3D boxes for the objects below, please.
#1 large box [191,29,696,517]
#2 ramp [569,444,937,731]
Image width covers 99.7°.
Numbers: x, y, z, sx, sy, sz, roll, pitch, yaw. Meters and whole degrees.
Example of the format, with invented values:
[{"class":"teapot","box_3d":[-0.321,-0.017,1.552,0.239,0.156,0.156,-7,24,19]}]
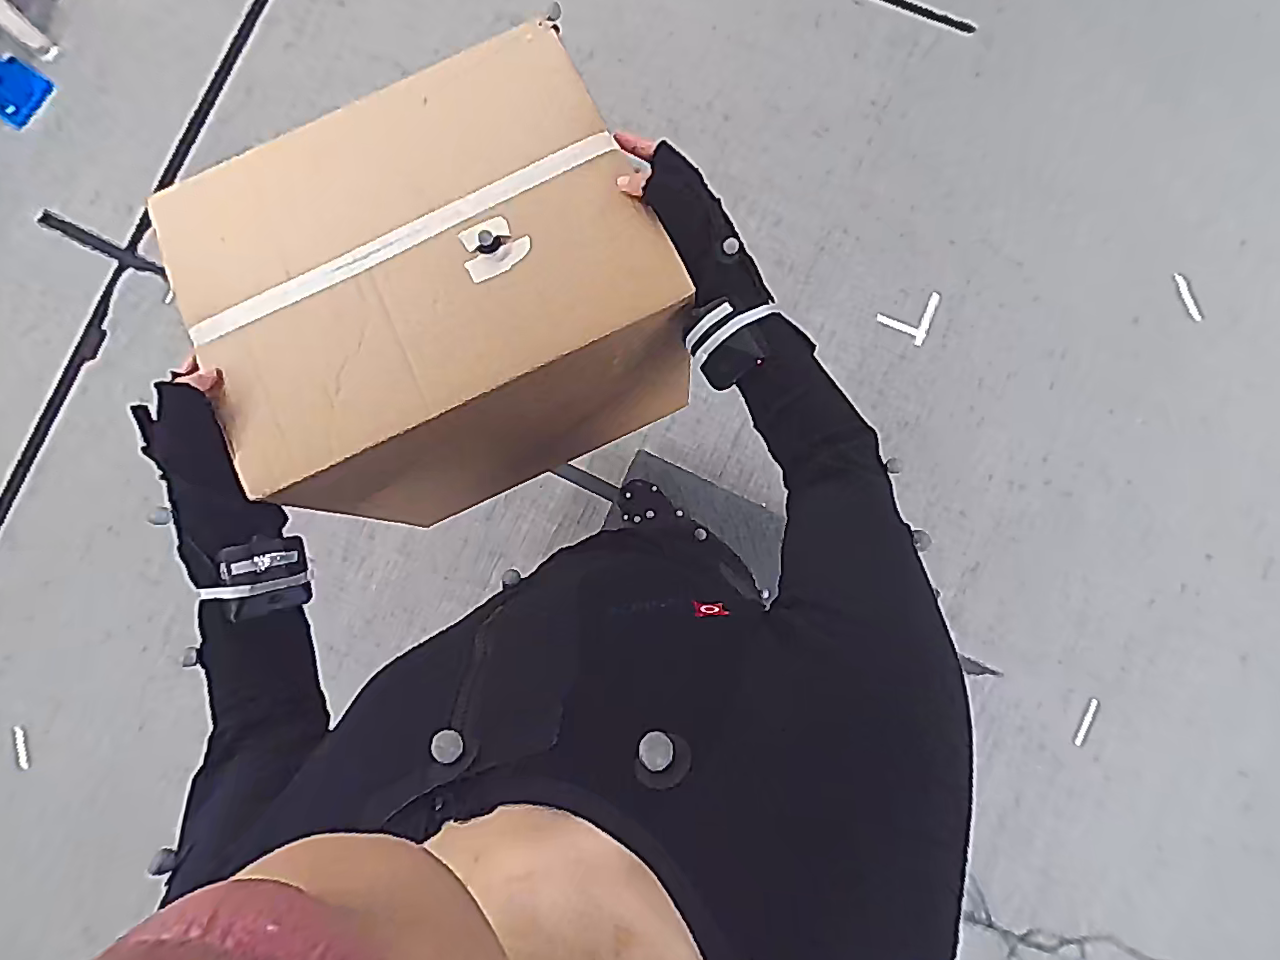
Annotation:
[{"class":"large box","box_3d":[-0.180,-0.189,0.633,0.408,0.320,0.320,-25,80,-1]},{"class":"ramp","box_3d":[0.348,0.318,1.552,0.991,0.206,0.509,23,87,3]}]
